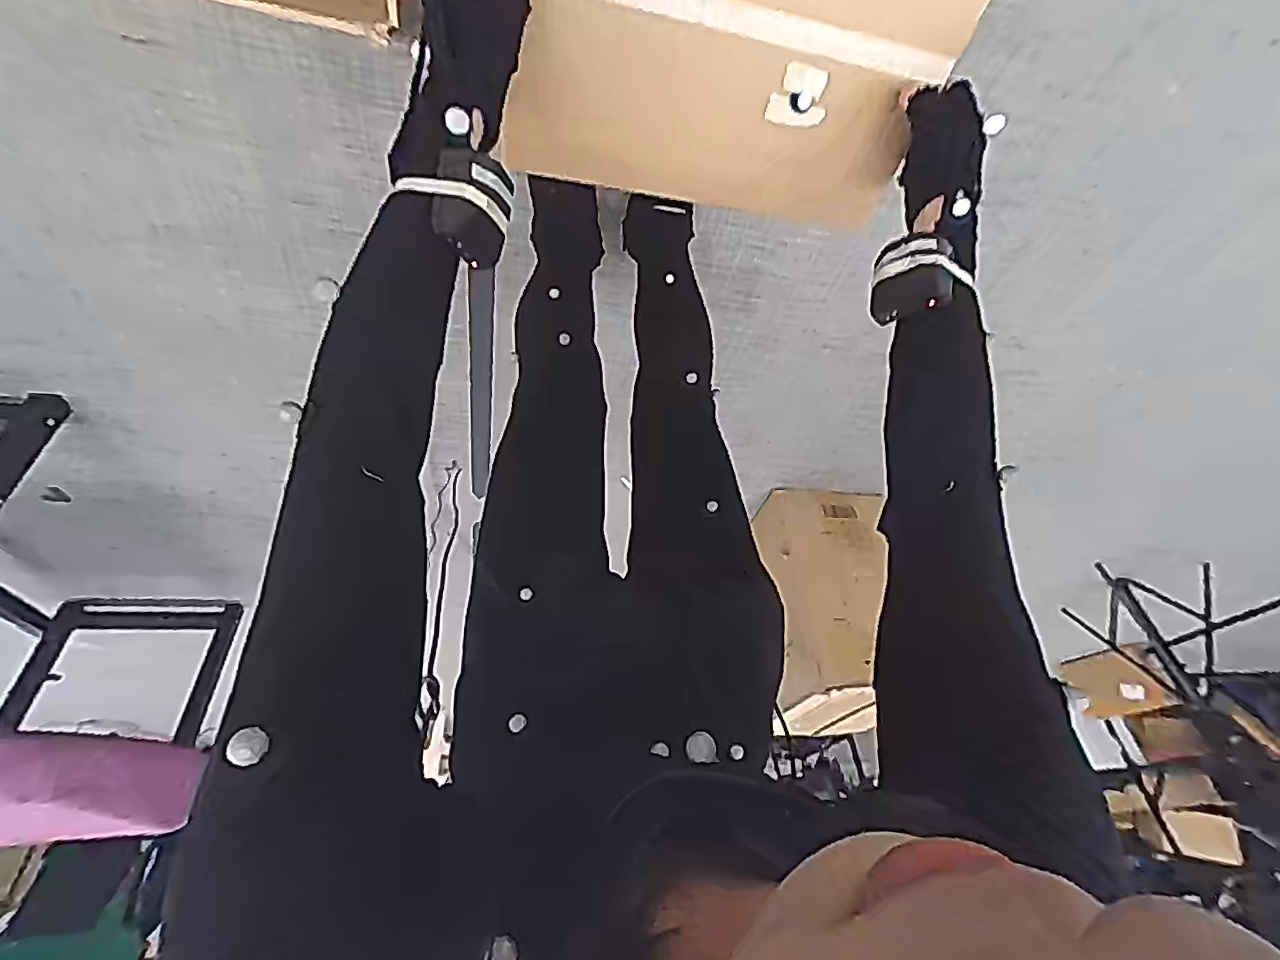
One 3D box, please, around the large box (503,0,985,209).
[{"bbox_3d":[0.074,-0.515,0.527,0.408,0.320,0.320,1,144,-15],"label":"large box"}]
